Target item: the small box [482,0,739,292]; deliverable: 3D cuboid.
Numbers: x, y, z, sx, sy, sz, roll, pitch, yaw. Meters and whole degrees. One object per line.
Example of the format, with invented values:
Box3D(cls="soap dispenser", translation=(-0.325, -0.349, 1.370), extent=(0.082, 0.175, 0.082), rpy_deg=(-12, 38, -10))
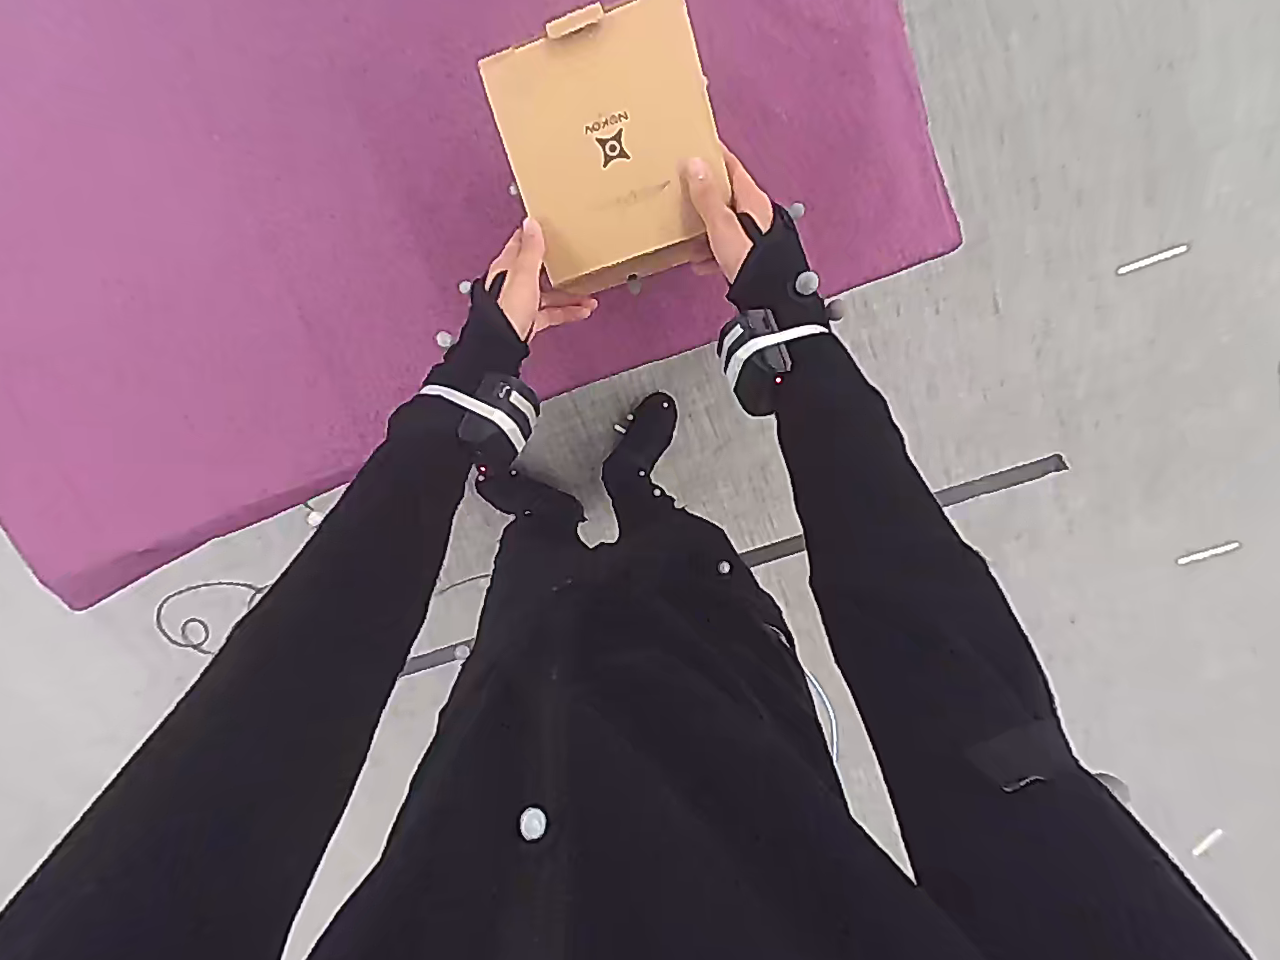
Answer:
Box3D(cls="small box", translation=(-0.018, -0.287, 0.498), extent=(0.168, 0.176, 0.179), rpy_deg=(-15, 104, 7))
